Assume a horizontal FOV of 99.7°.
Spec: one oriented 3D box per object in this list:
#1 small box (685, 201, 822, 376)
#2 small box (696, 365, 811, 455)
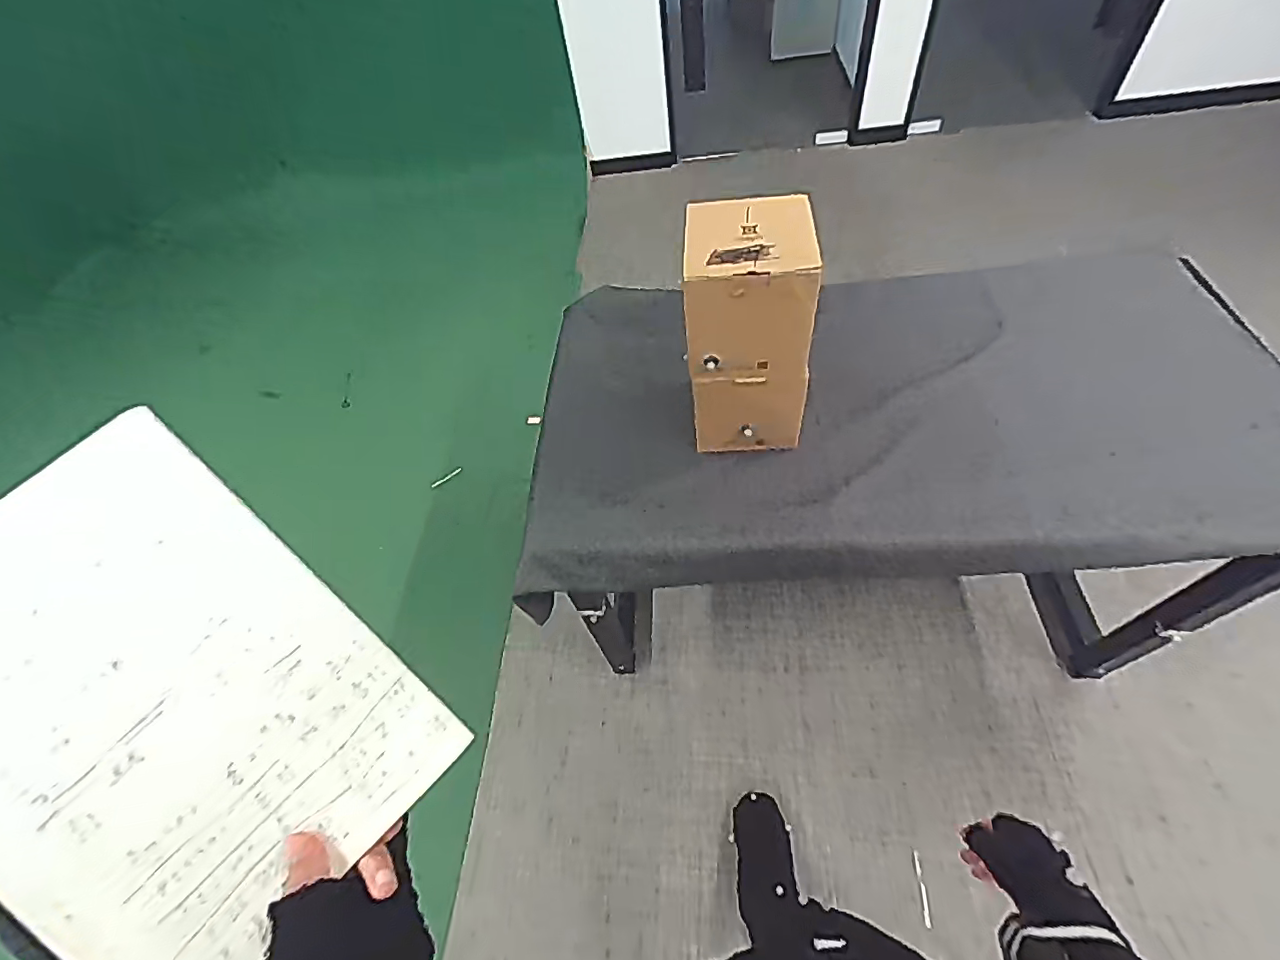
[{"bbox_3d":[0.153,-0.259,0.758,0.168,0.176,0.179,0,53,8],"label":"small box"},{"bbox_3d":[0.177,-0.161,0.887,0.168,0.176,0.179,-2,54,8],"label":"small box"}]
